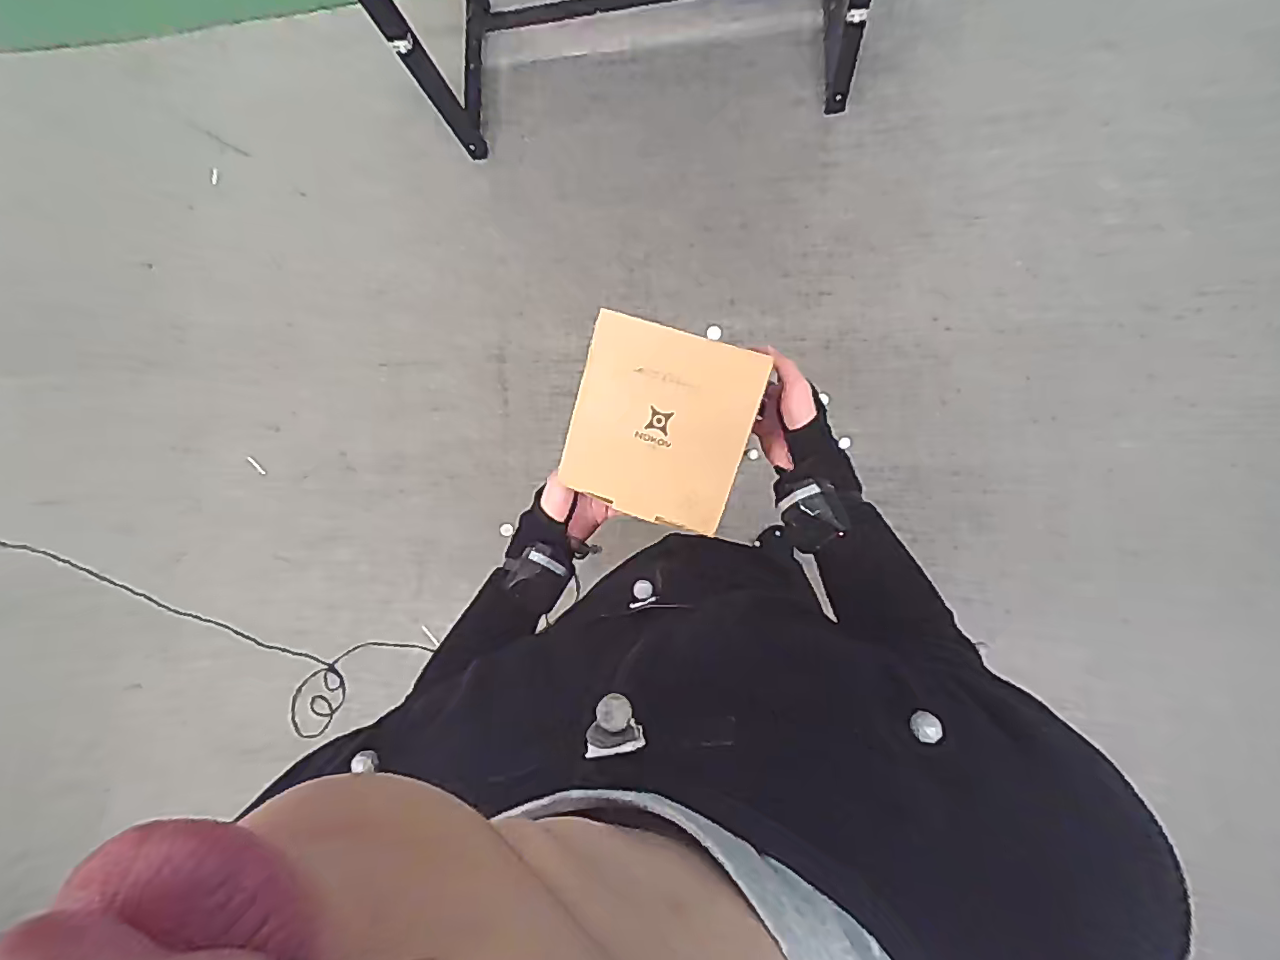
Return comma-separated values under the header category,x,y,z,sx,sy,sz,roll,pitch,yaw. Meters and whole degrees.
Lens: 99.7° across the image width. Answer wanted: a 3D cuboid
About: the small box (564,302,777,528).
category,x,y,z,sx,sy,sz,roll,pitch,yaw
small box,0.038,-0.073,0.581,0.168,0.176,0.179,18,103,7
